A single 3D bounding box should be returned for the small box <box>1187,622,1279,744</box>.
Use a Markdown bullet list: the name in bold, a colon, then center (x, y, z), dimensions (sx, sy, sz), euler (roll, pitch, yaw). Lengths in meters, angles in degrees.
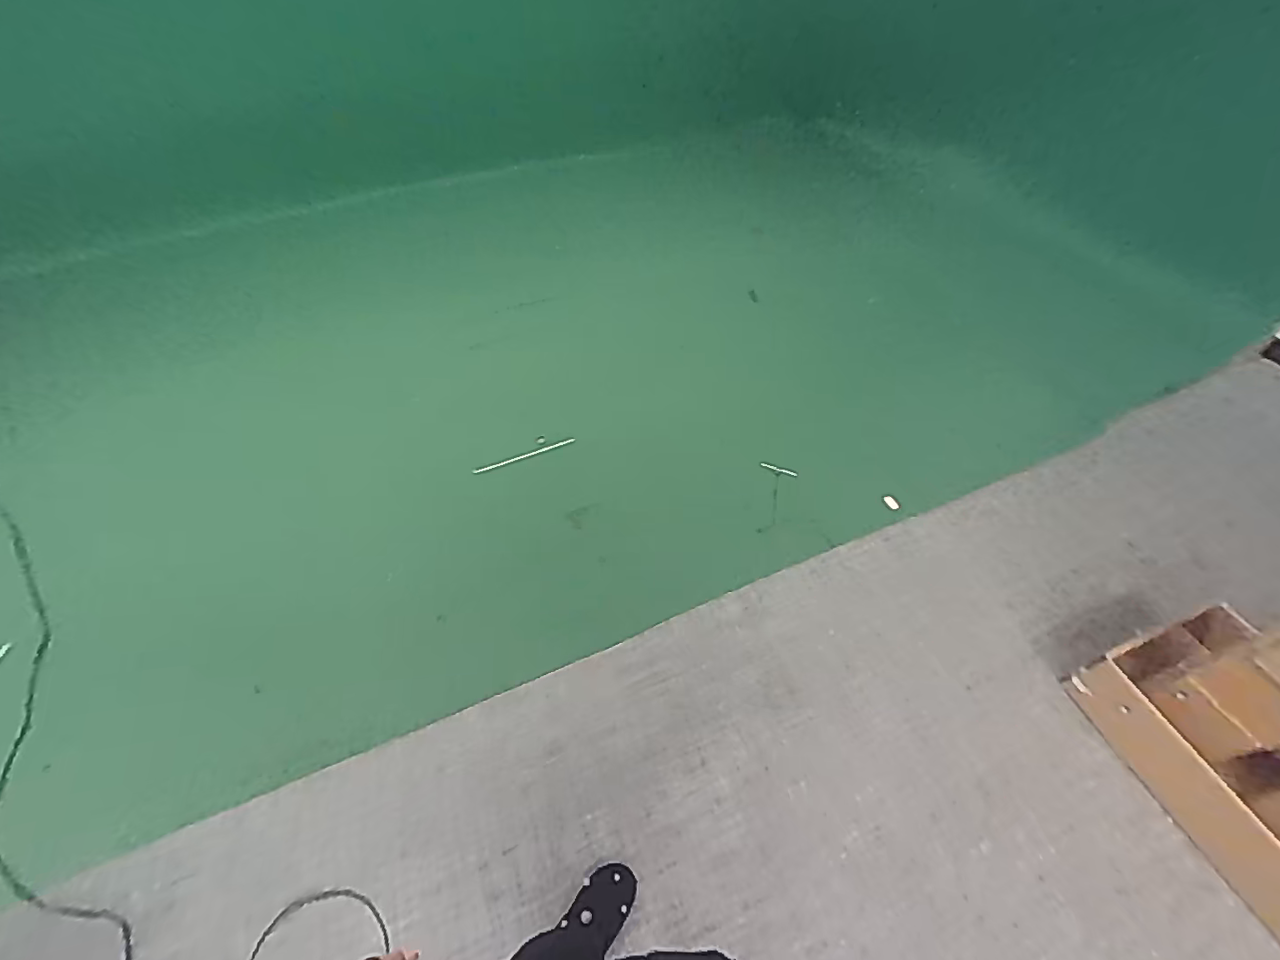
- **small box**: center (1.337, 0.424, 1.134), dimensions (0.168, 0.176, 0.179), euler (-20, 56, -13)
